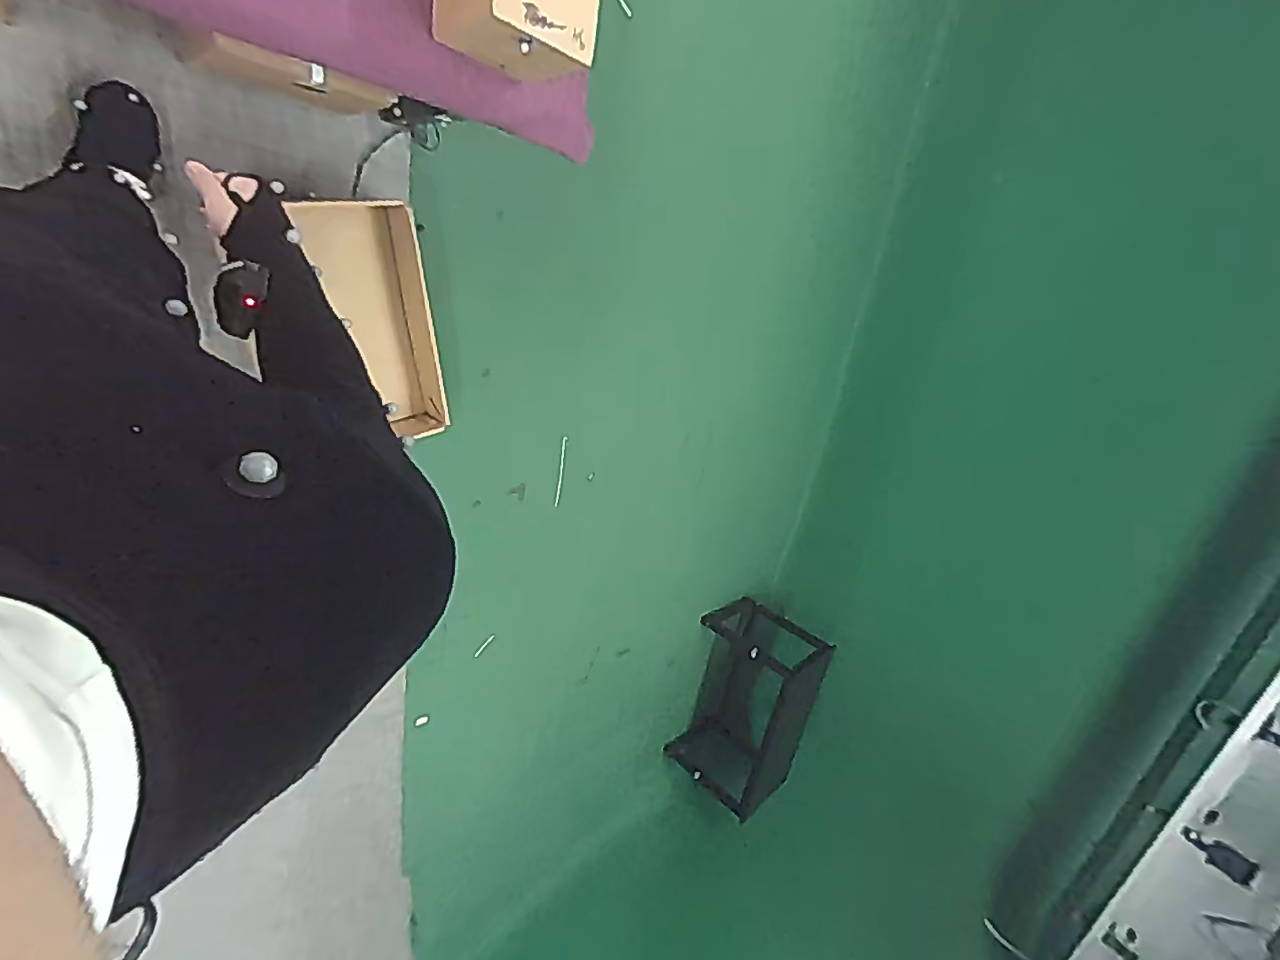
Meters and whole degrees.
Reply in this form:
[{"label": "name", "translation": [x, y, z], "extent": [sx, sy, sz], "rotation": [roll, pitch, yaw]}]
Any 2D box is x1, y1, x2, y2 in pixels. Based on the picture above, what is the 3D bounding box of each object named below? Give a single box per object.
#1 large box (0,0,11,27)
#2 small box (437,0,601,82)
[{"label": "large box", "translation": [-1.085, -0.888, 0.676], "extent": [0.320, 0.320, 0.408], "rotation": [-16, 122, -44]}, {"label": "small box", "translation": [-0.169, -0.697, 0.754], "extent": [0.168, 0.176, 0.179], "rotation": [-9, 115, -44]}]
